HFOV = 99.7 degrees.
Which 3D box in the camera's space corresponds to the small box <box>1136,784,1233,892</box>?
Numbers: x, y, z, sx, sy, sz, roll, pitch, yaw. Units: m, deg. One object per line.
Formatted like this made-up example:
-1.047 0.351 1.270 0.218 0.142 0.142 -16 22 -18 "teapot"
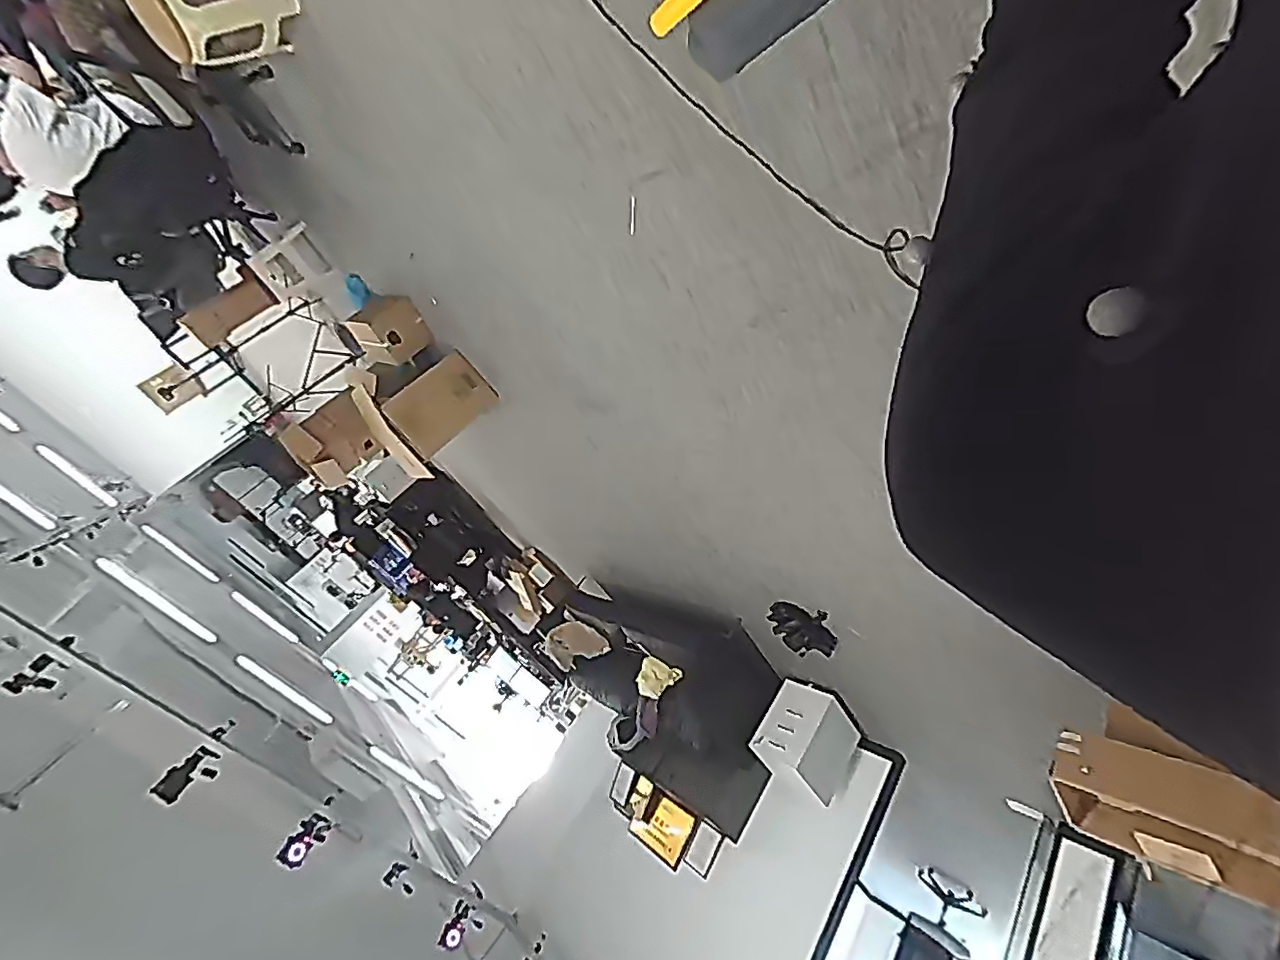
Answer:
1.585 1.032 1.570 0.179 0.176 0.168 51 151 -19 "small box"
